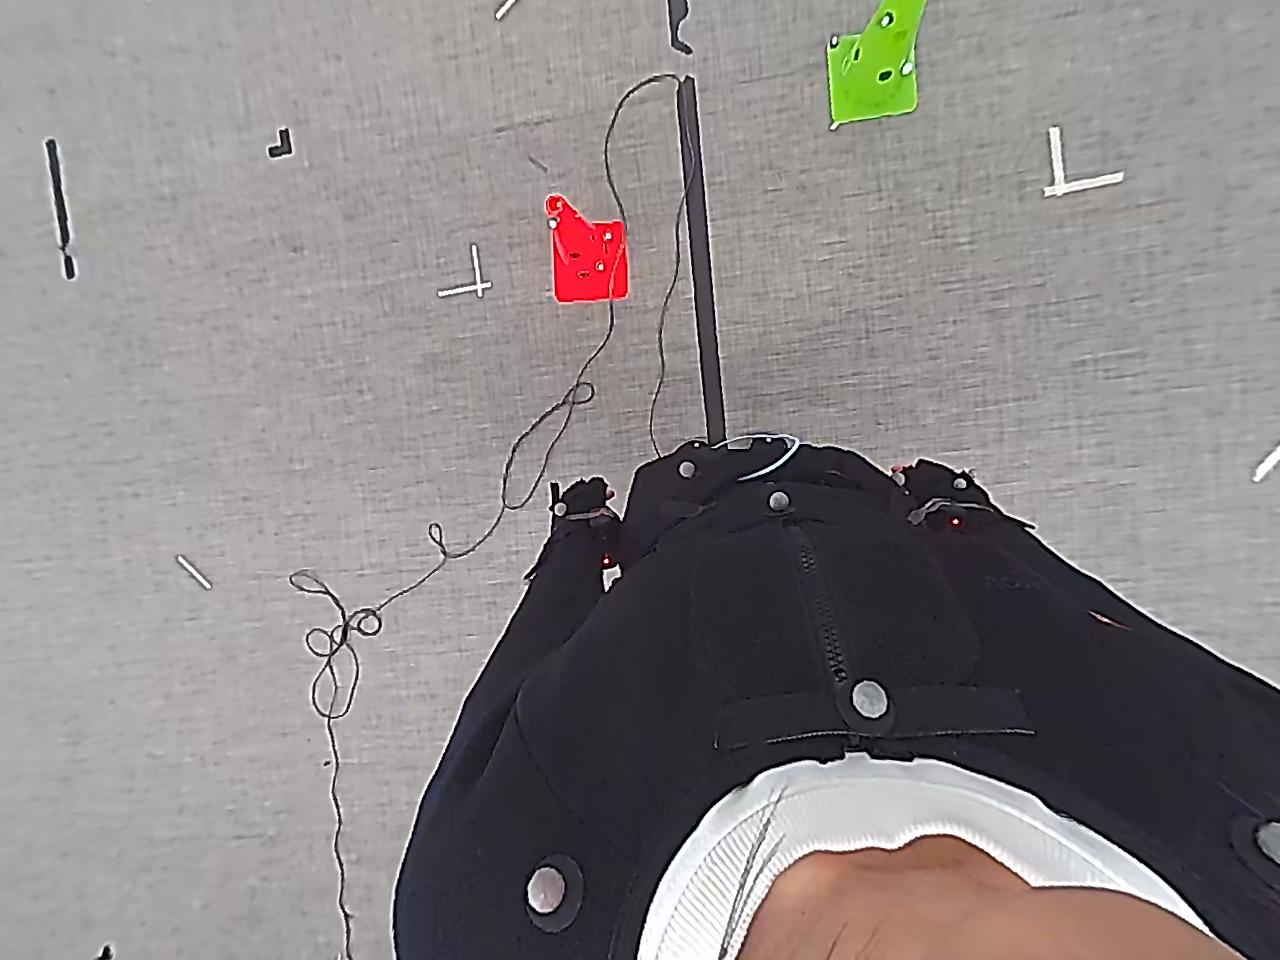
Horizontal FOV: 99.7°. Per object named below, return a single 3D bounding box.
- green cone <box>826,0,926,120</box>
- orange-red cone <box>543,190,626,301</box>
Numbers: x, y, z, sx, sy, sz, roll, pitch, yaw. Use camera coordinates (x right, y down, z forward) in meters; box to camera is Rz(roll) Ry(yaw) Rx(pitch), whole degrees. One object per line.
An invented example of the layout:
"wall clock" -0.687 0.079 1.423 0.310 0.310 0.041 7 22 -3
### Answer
"green cone" 0.542 -0.970 1.137 0.202 0.368 0.200 -5 93 6
"orange-red cone" -0.156 -0.565 1.249 0.199 0.360 0.198 -1 93 8
